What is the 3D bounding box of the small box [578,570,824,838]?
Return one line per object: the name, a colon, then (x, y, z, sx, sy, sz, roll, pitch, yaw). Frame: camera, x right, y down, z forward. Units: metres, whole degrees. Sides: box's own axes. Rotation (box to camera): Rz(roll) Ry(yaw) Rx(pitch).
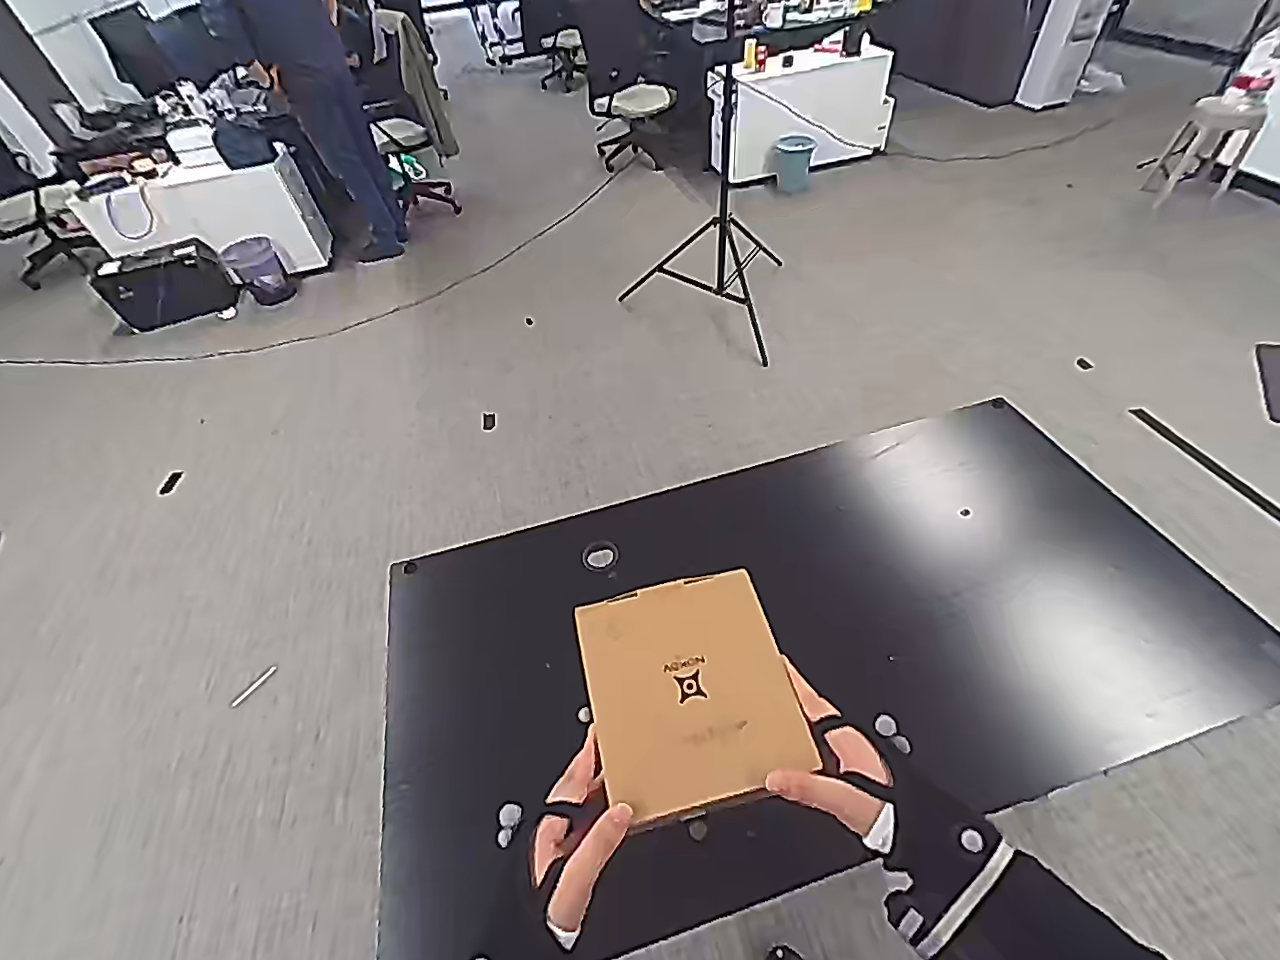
small box: (0.041, 0.212, 0.506, 0.168, 0.176, 0.179, -12, 56, -7)
